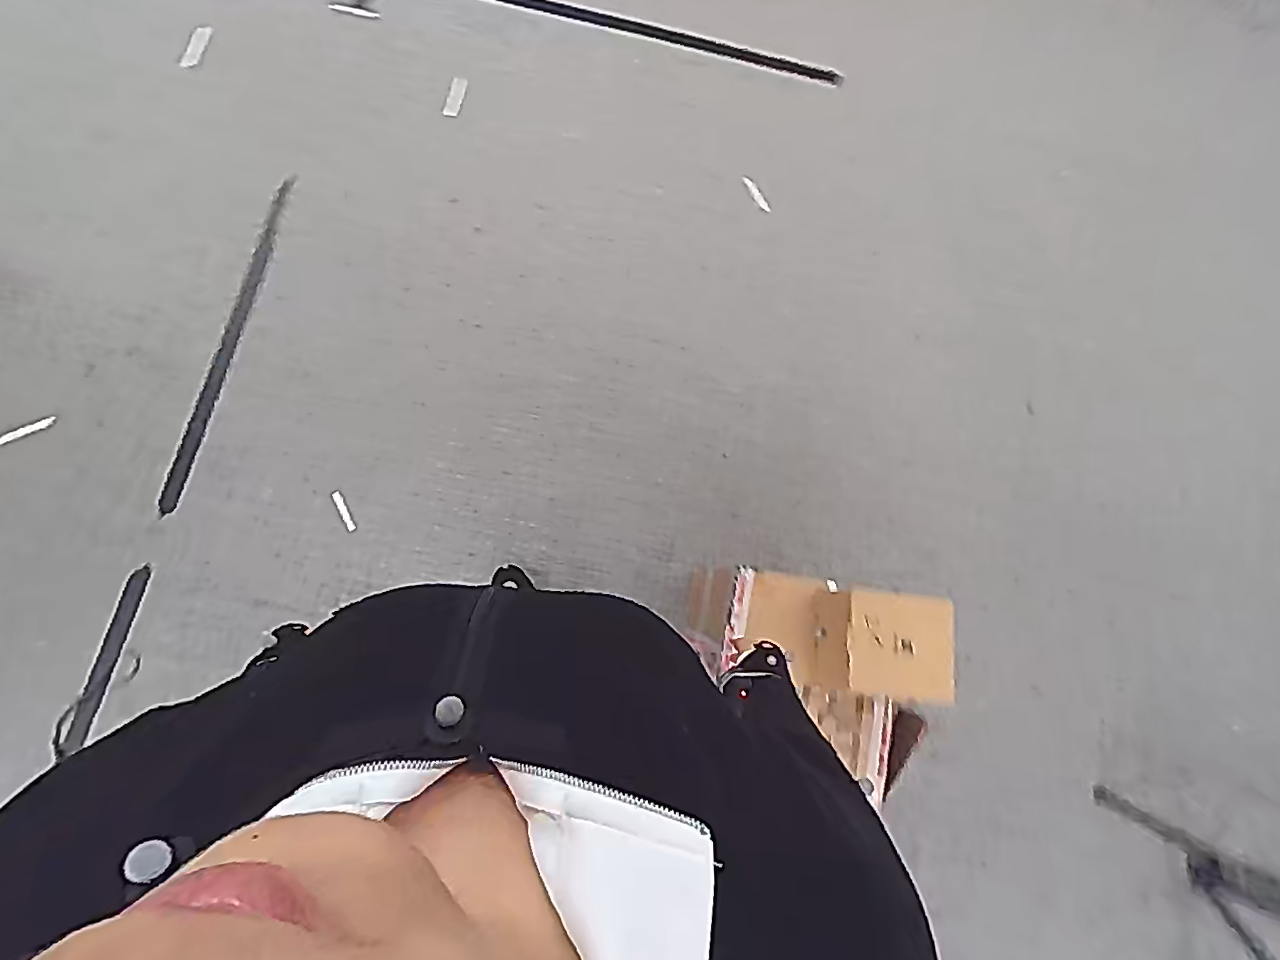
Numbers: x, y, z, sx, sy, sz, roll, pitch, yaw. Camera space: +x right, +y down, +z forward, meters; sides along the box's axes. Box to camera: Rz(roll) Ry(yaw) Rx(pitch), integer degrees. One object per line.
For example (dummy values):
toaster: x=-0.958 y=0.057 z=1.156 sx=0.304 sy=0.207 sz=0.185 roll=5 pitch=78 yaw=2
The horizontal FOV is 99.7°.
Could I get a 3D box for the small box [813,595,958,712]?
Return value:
small box: x=0.425 y=0.295 z=0.951 sx=0.179 sy=0.176 sz=0.168 roll=8 pitch=77 yaw=0
